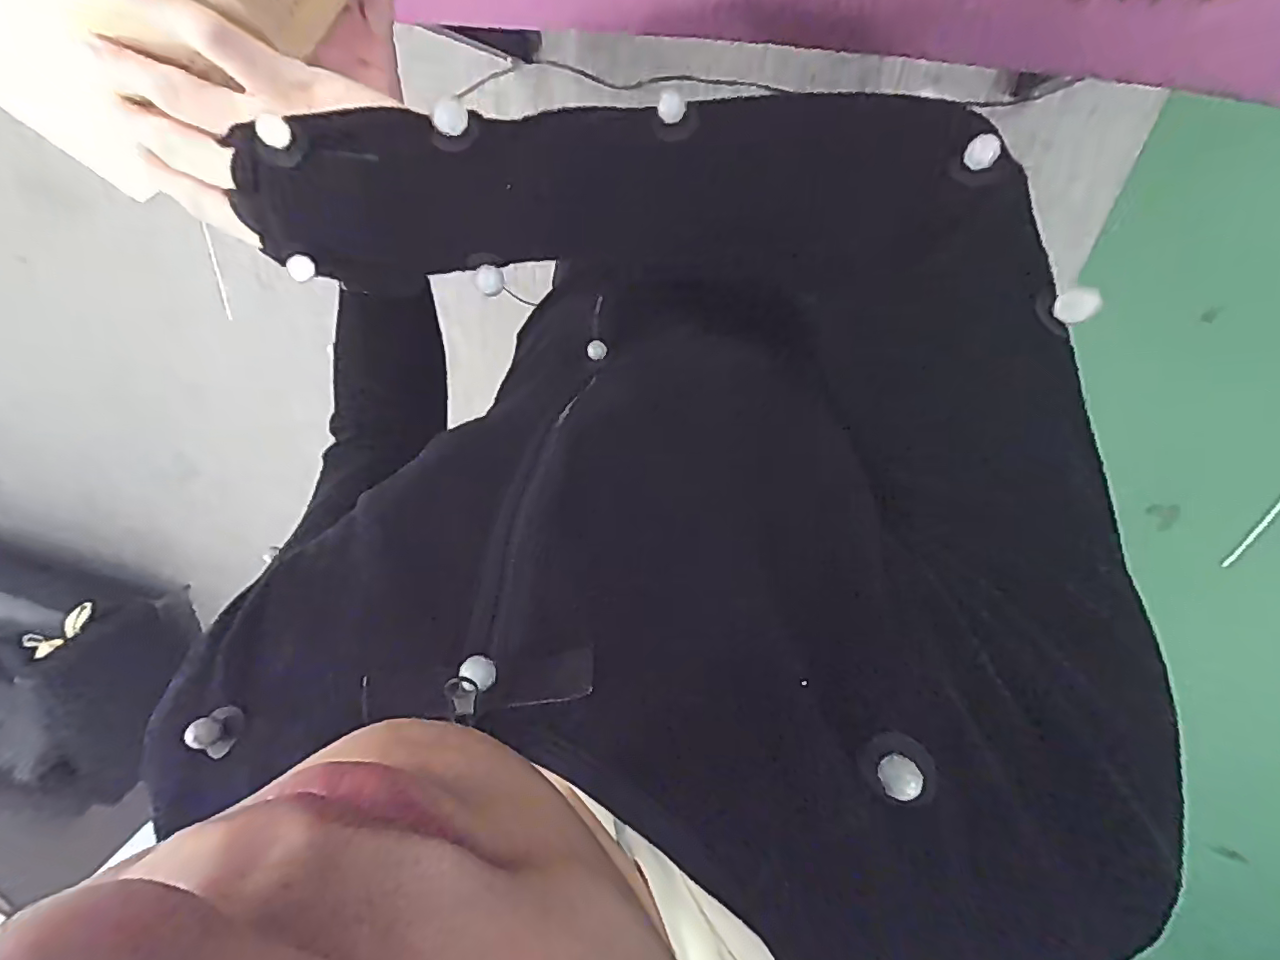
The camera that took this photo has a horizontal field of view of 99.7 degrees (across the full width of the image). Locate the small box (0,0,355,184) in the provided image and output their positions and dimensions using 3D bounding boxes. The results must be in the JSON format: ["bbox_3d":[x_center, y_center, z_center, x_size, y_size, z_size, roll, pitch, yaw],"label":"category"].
[{"bbox_3d":[-0.257,-0.287,0.262,0.179,0.168,0.176,-8,151,27],"label":"small box"}]
